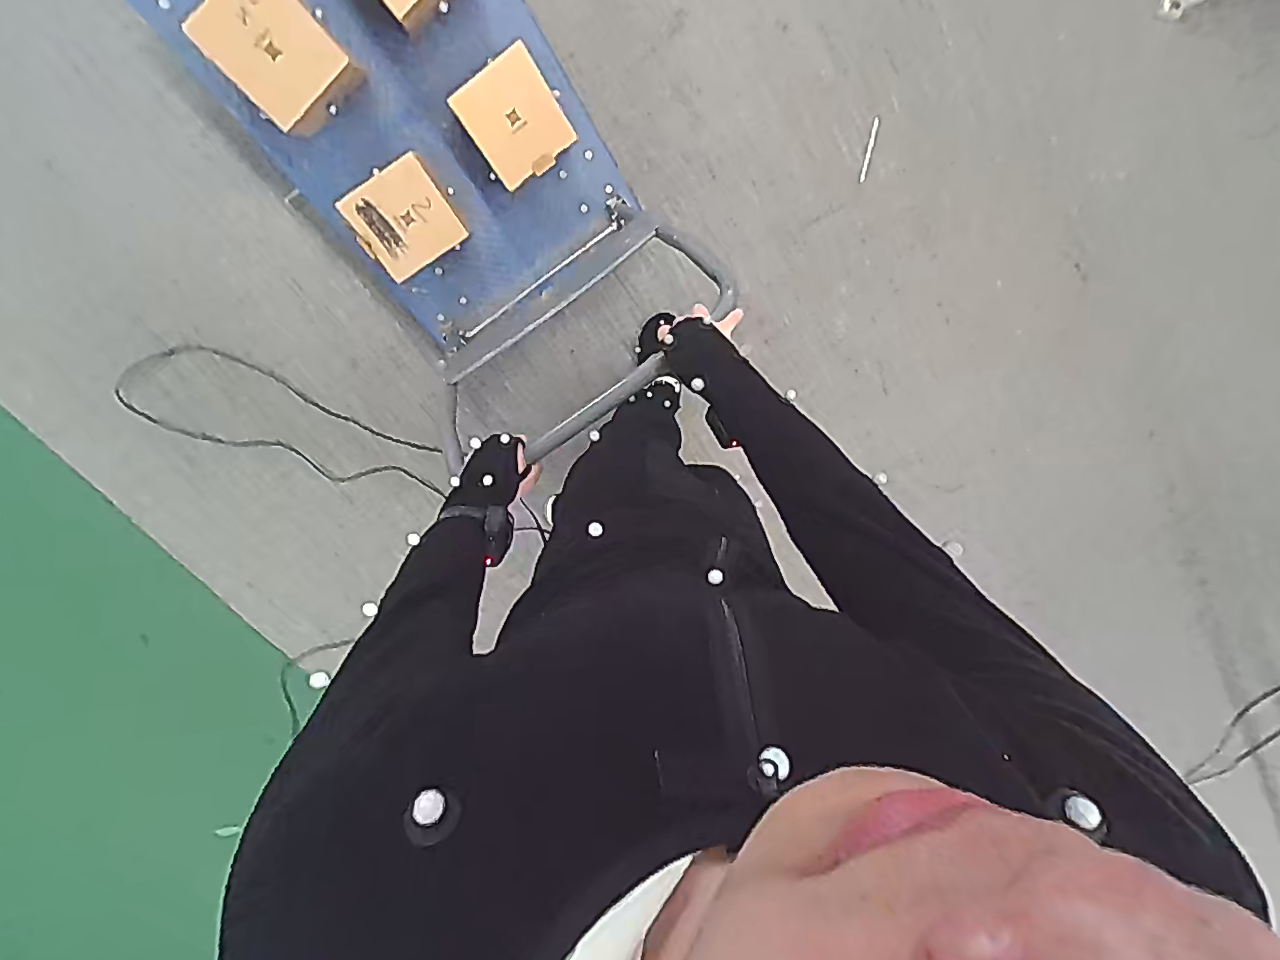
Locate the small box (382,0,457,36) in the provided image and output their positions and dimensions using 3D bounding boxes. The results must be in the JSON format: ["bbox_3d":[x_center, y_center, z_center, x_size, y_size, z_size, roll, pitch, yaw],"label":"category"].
[{"bbox_3d":[-0.392,-0.886,0.890,0.168,0.176,0.179,-38,122,9],"label":"small box"}]

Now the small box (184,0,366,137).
[{"bbox_3d":[-0.605,-0.726,0.927,0.168,0.176,0.179,-39,122,9],"label":"small box"}]

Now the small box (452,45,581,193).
[{"bbox_3d":[-0.240,-0.687,1.049,0.168,0.176,0.179,-34,123,6],"label":"small box"}]
